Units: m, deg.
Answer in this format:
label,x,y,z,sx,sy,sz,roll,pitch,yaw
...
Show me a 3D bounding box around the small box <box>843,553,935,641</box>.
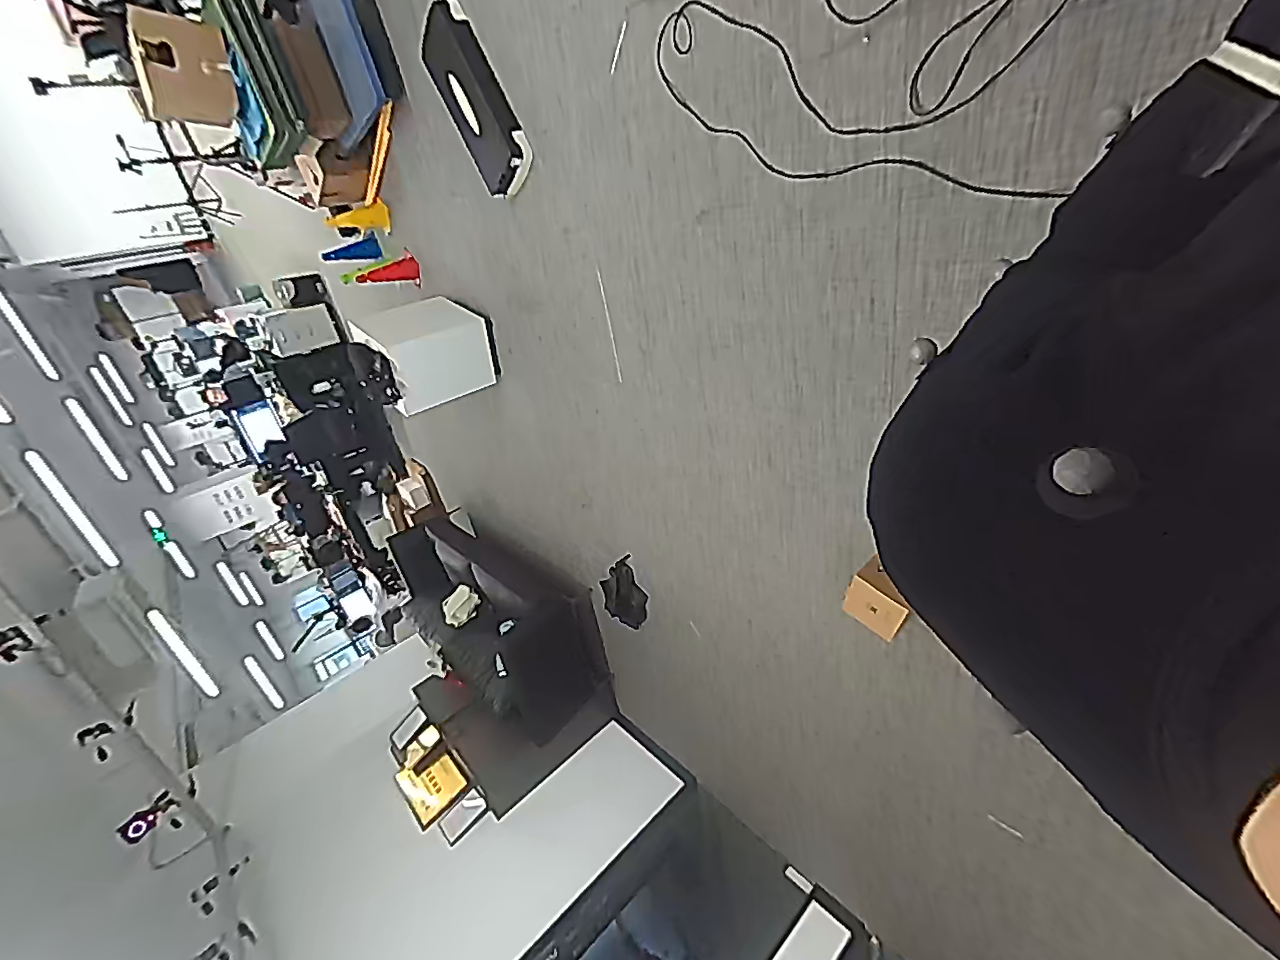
label,x,y,z,sx,sy,sz,roll,pitch,yaw
small box,0.762,0.349,1.658,0.179,0.176,0.168,35,141,33
